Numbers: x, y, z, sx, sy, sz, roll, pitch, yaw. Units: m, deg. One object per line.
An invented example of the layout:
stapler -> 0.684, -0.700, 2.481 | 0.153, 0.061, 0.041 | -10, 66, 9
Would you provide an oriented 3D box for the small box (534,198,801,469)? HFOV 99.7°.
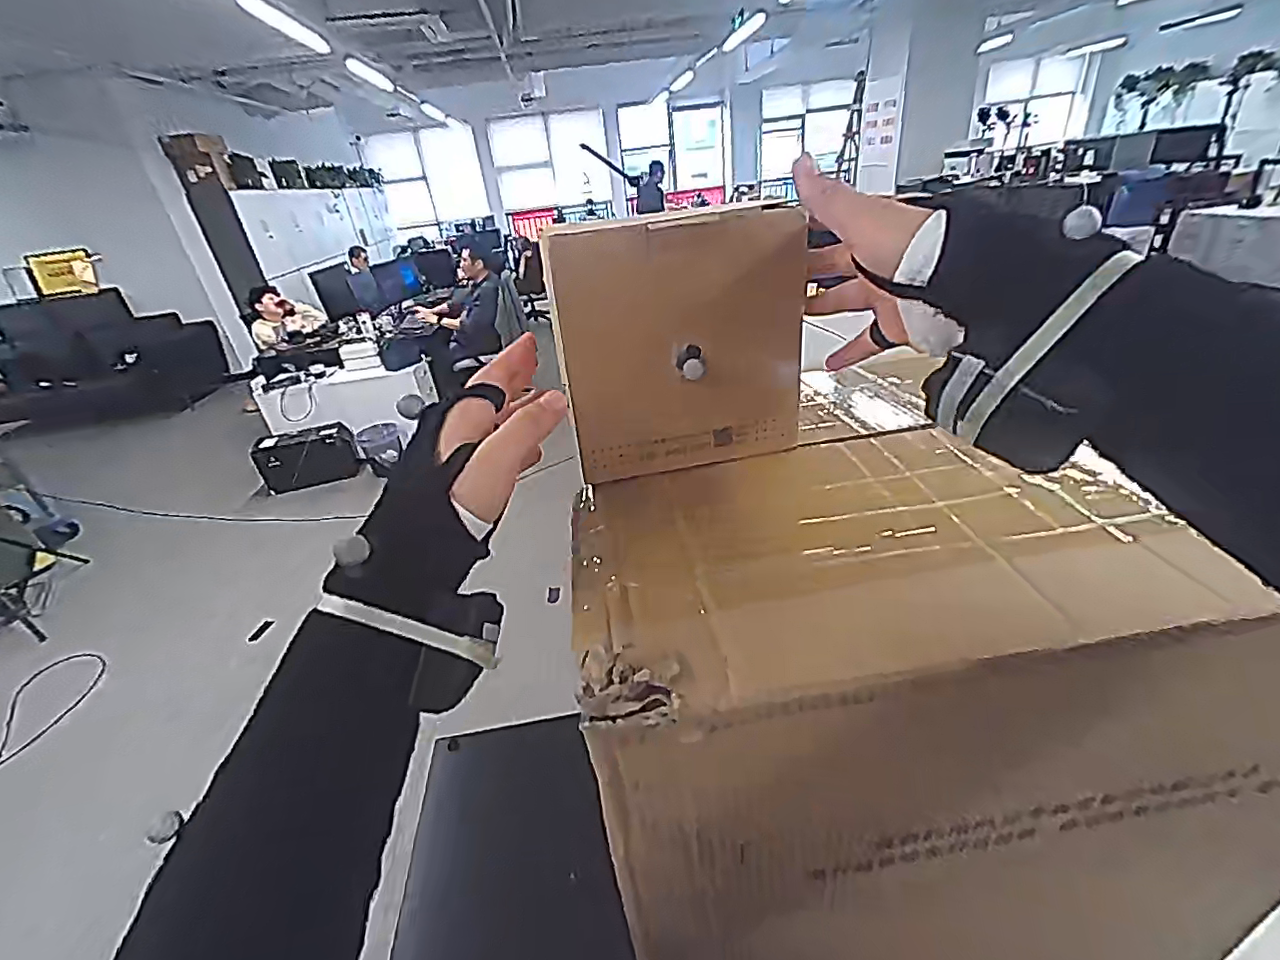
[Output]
small box -> 0.015, -0.118, 0.430 | 0.168, 0.176, 0.179 | -11, 28, -7
